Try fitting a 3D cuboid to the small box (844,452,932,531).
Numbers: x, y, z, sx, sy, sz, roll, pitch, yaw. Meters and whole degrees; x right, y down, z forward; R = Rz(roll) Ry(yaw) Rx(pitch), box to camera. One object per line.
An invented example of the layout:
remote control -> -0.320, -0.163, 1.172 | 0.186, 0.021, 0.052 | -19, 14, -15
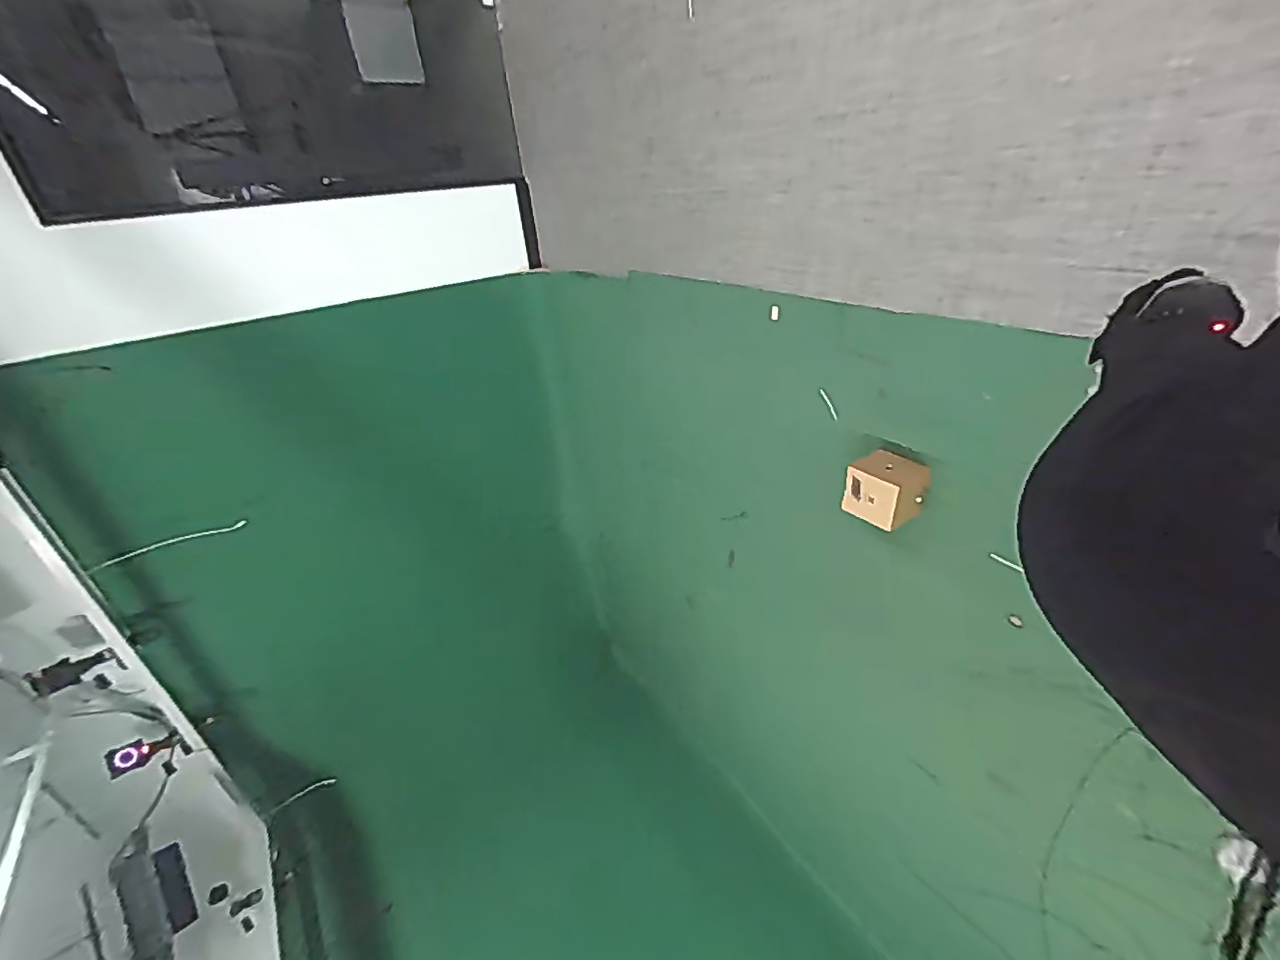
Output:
small box -> 0.777, 0.028, 1.698 | 0.179, 0.176, 0.168 | 33, 137, 45
